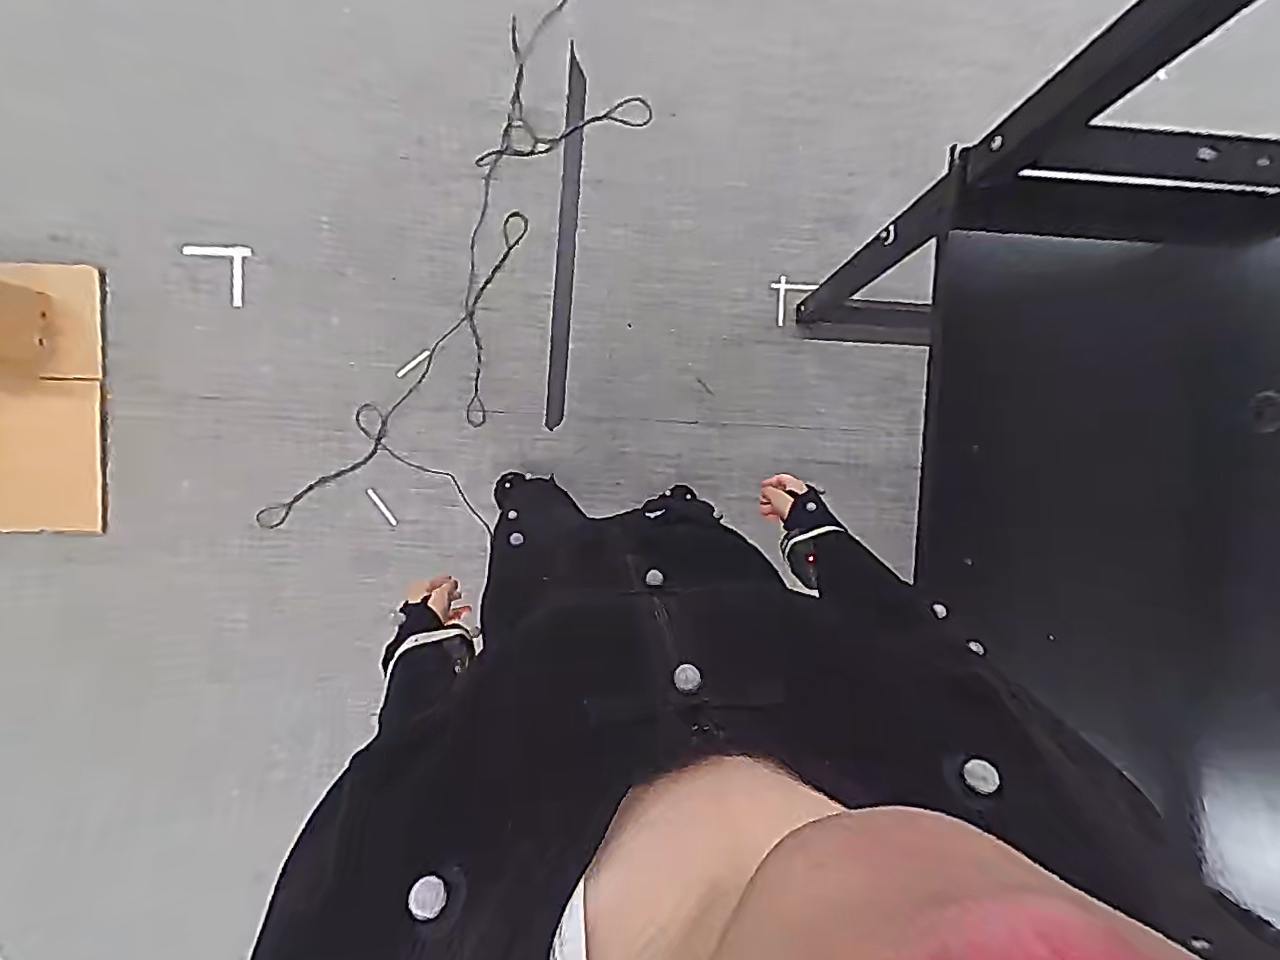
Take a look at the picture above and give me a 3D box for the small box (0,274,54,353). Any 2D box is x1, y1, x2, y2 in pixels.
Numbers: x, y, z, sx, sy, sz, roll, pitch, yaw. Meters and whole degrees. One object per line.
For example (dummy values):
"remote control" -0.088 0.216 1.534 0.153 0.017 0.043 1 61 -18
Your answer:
"small box" -1.589 -0.408 1.312 0.179 0.176 0.168 -2 92 -2
